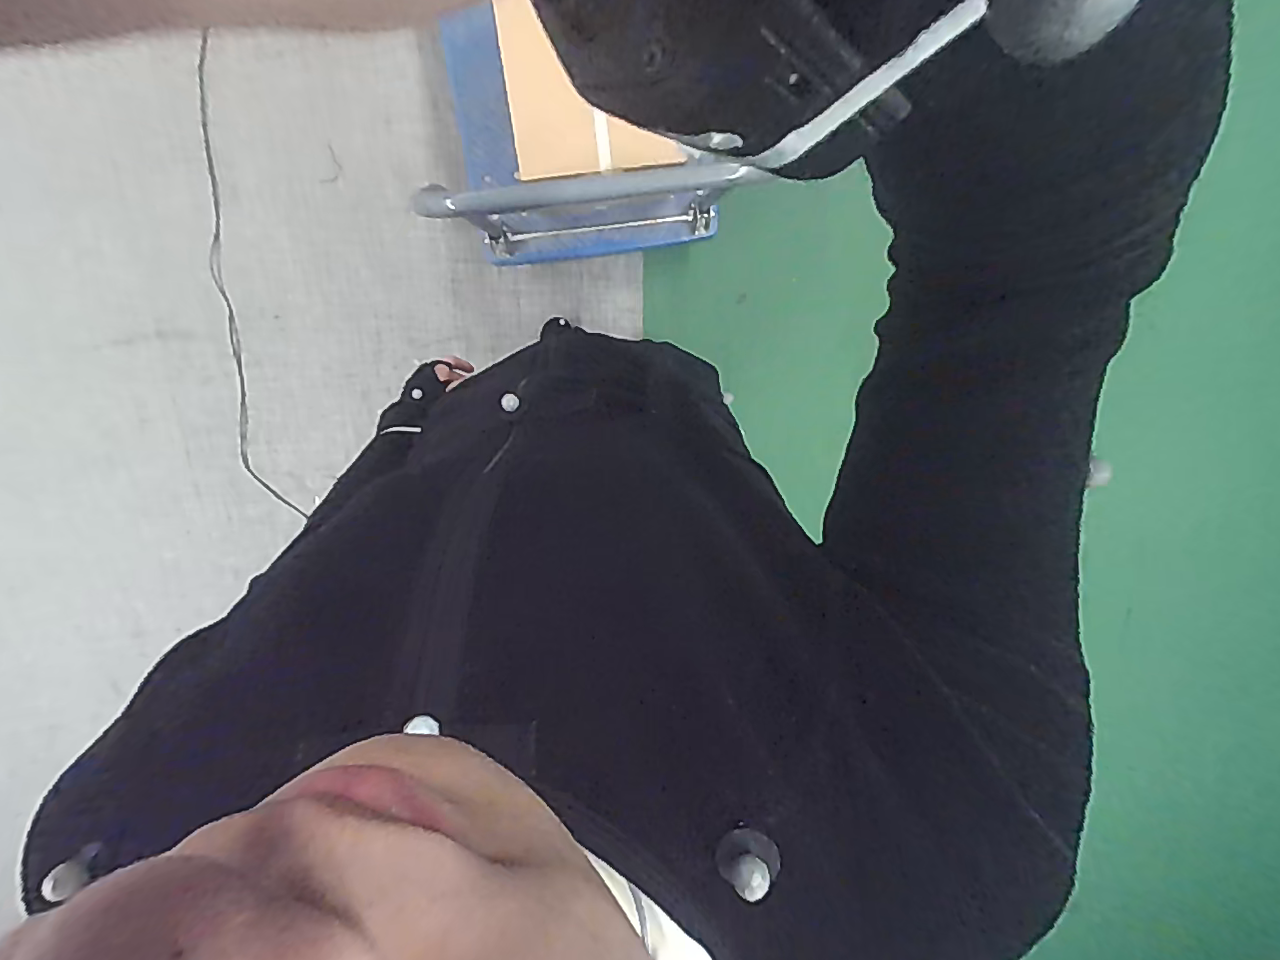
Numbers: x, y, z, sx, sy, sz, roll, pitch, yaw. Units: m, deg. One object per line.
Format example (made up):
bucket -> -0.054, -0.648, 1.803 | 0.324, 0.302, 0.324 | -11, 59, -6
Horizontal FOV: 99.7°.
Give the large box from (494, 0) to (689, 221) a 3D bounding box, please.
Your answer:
large box -> -0.092, -0.788, 1.095 | 0.320, 0.320, 0.408 | -8, 105, -2
